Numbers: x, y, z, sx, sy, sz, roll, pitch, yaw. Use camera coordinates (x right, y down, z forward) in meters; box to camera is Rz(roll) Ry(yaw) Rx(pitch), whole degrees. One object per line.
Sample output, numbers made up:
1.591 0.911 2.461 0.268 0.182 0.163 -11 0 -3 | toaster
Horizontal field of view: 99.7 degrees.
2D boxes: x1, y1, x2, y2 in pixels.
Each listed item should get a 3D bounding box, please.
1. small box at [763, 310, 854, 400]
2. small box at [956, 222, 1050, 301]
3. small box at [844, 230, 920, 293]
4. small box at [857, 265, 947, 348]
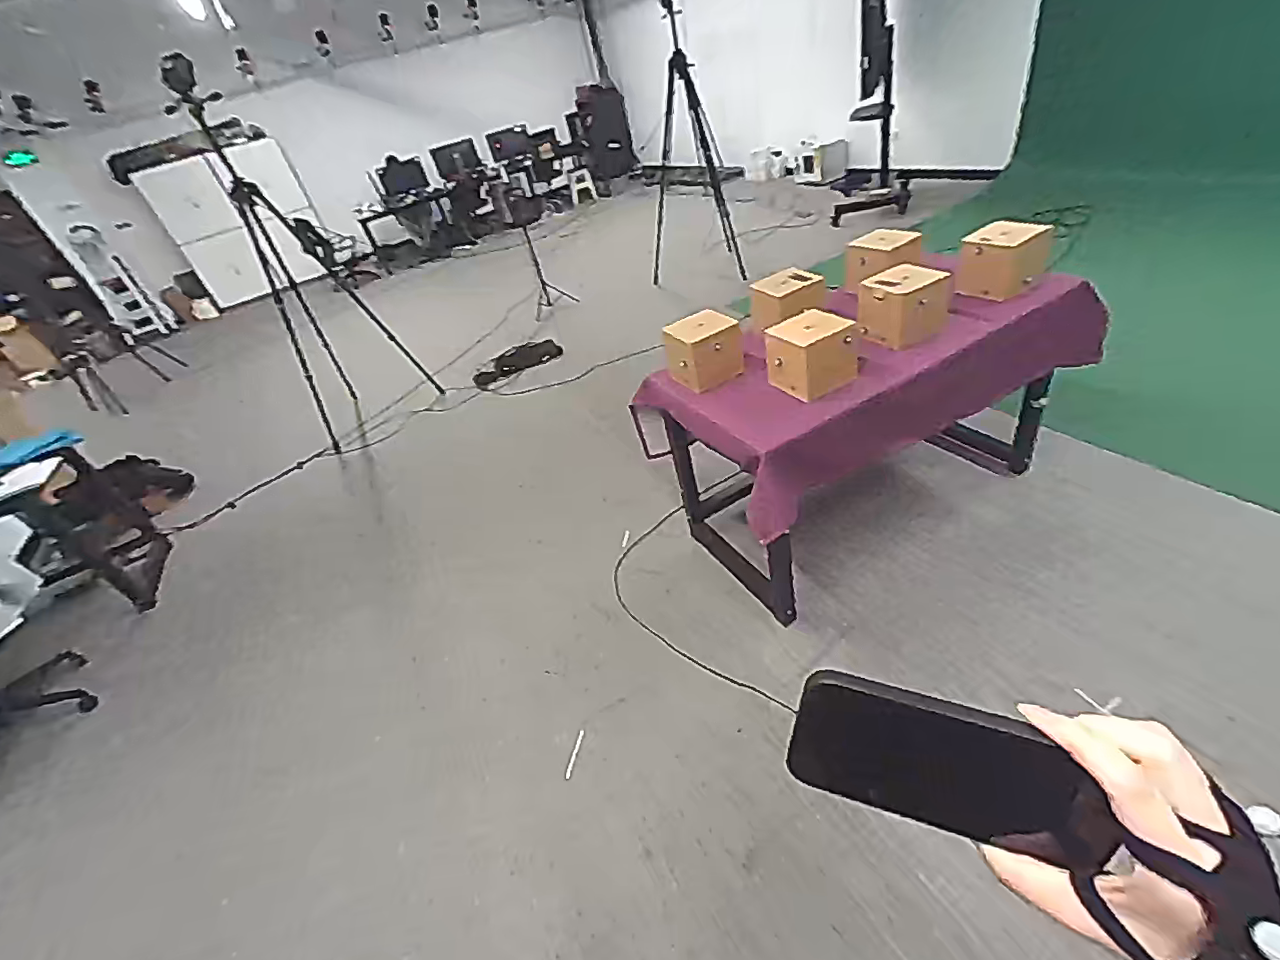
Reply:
0.463 -0.341 1.477 0.179 0.176 0.168 -26 37 -14 | small box
1.102 -0.671 1.659 0.179 0.176 0.168 -28 38 -16 | small box
0.823 -0.739 1.851 0.168 0.176 0.179 -30 39 -16 | small box
0.758 -0.506 1.577 0.179 0.176 0.168 -25 38 -13 | small box
